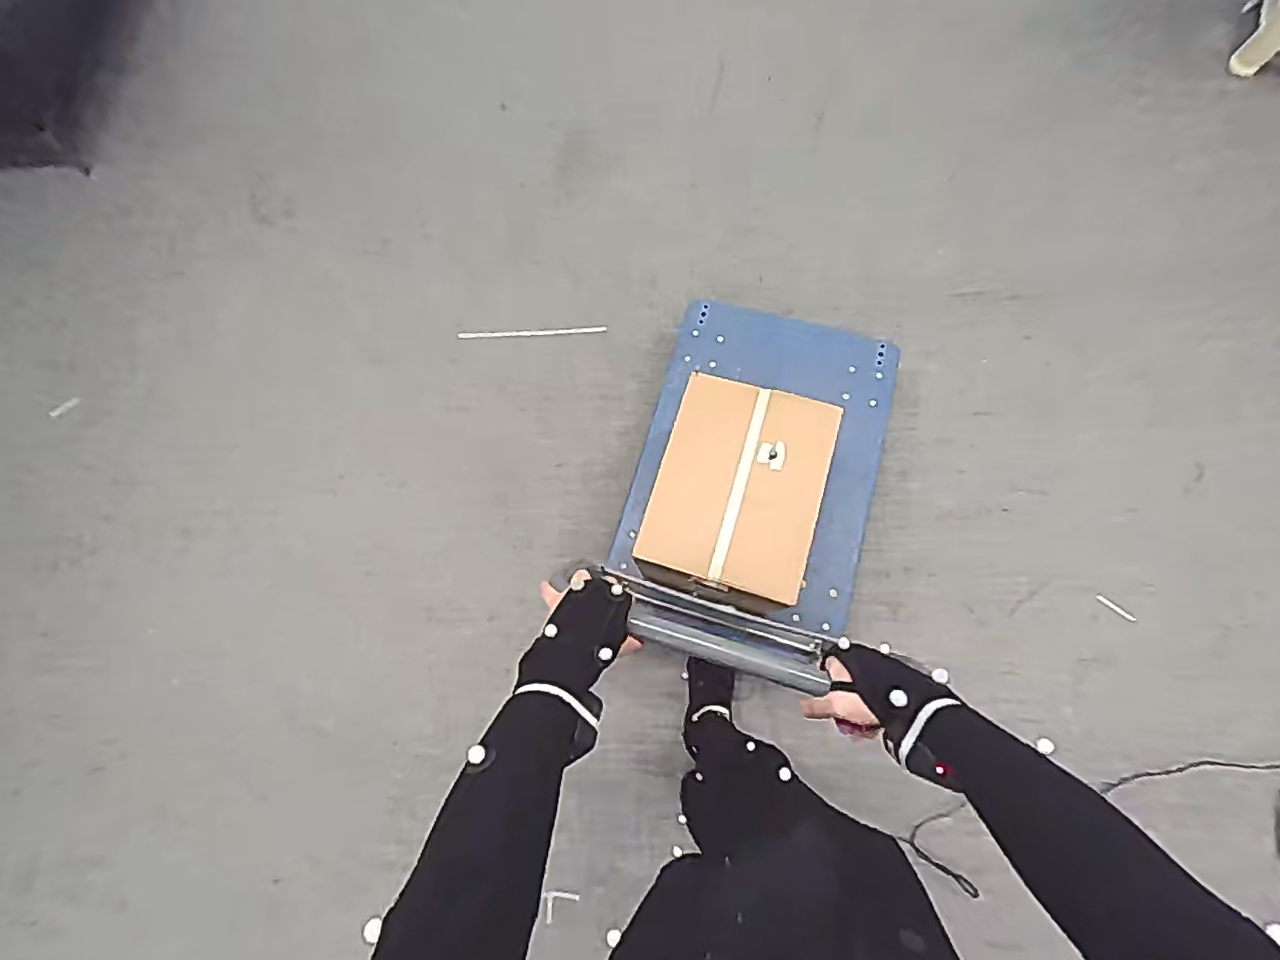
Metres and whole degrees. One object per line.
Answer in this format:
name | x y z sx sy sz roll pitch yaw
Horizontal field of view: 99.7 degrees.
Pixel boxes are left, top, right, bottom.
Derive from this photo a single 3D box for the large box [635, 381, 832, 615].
large box | 0.201 0.056 1.206 0.320 0.320 0.408 16 74 9
